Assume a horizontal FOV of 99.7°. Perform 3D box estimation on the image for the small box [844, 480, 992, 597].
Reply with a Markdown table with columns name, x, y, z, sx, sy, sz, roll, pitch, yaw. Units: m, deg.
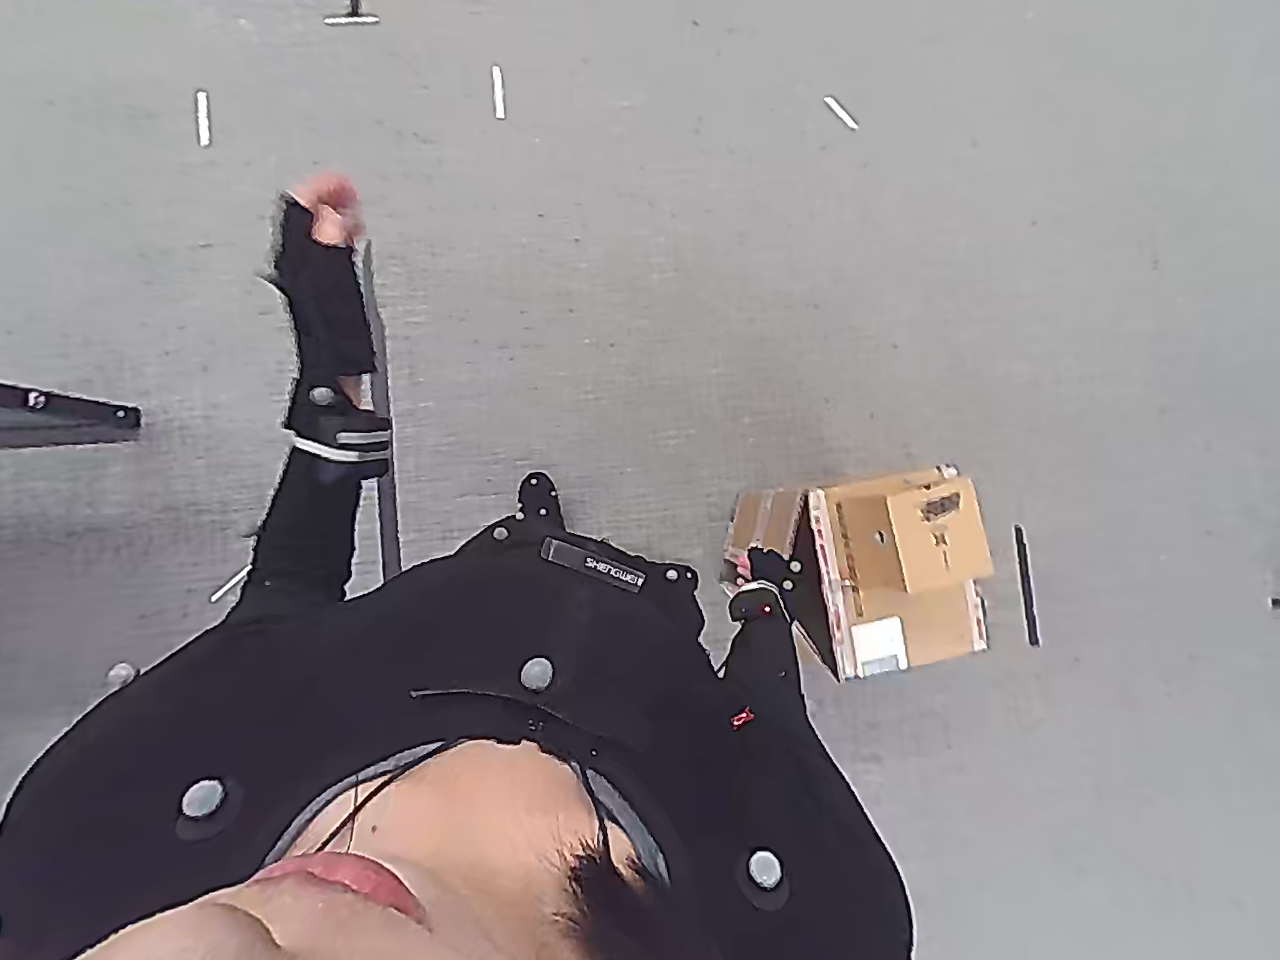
| name | x | y | z | sx | sy | sz | roll | pitch | yaw |
| --- | --- | --- | --- | --- | --- | --- | --- | --- | --- |
| small box | 0.503 | 0.105 | 1.005 | 0.168 | 0.176 | 0.179 | -11 | 88 | -7 |
